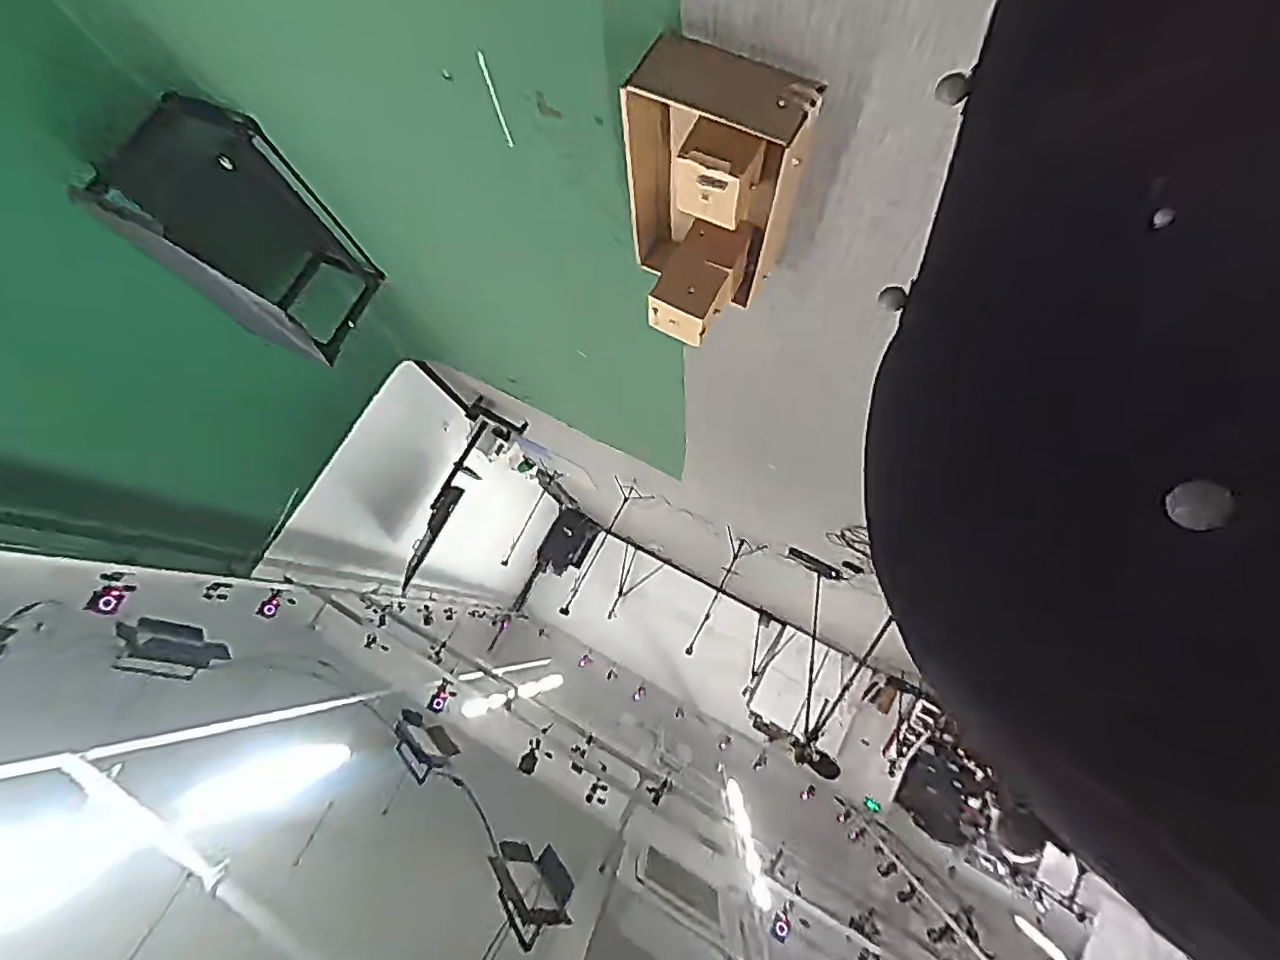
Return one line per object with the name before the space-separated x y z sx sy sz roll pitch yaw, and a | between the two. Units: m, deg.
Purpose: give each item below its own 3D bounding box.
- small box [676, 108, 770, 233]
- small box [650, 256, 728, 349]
small box | 0.197 -0.745 1.302 0.168 0.176 0.179 26 169 10
small box | 0.142 -0.520 1.582 0.179 0.176 0.168 26 168 8
